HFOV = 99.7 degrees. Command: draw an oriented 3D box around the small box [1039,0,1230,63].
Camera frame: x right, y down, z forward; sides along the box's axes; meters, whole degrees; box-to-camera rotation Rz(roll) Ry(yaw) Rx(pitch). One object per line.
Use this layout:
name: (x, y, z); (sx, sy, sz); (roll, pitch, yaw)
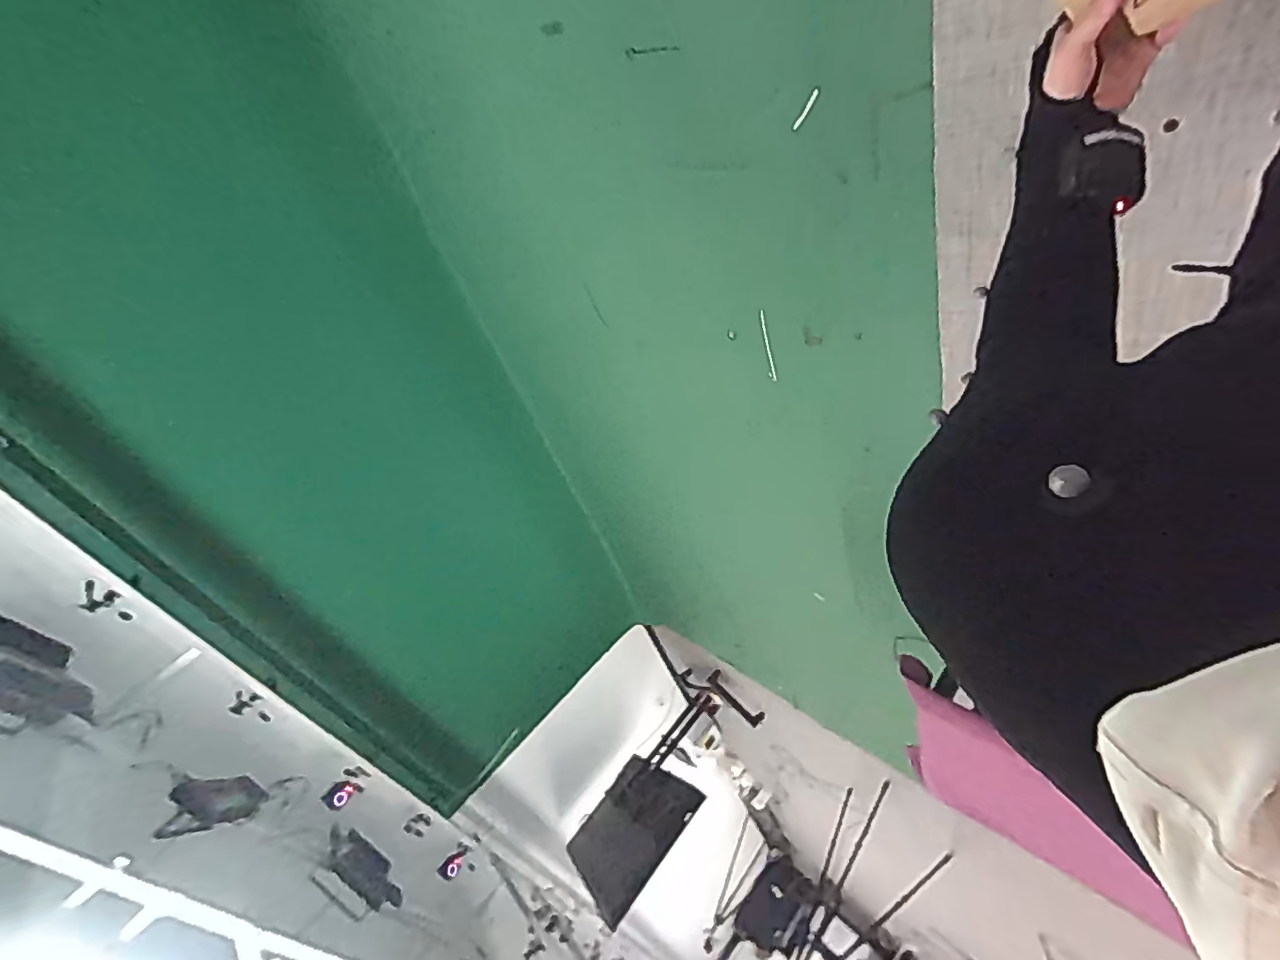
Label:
small box: (0.391, -0.454, 0.366); (0.179, 0.176, 0.168); (33, -170, -15)
